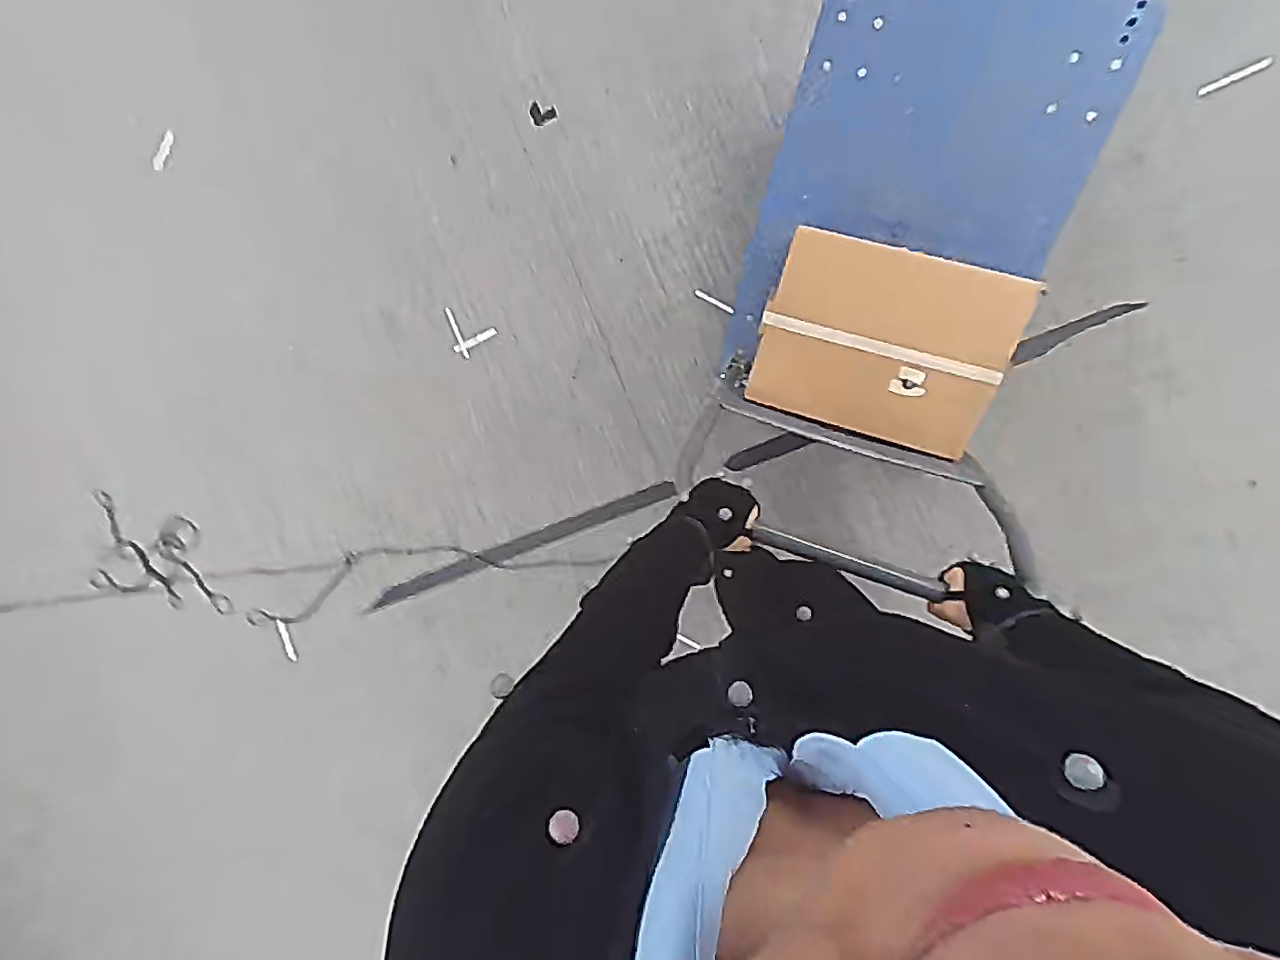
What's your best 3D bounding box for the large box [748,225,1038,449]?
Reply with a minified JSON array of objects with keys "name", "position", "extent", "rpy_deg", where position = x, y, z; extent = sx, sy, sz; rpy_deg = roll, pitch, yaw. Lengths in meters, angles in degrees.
[{"name":"large box","position":[0.462,-0.297,1.098],"extent":[0.408,0.320,0.320],"rpy_deg":[18,114,8]}]
